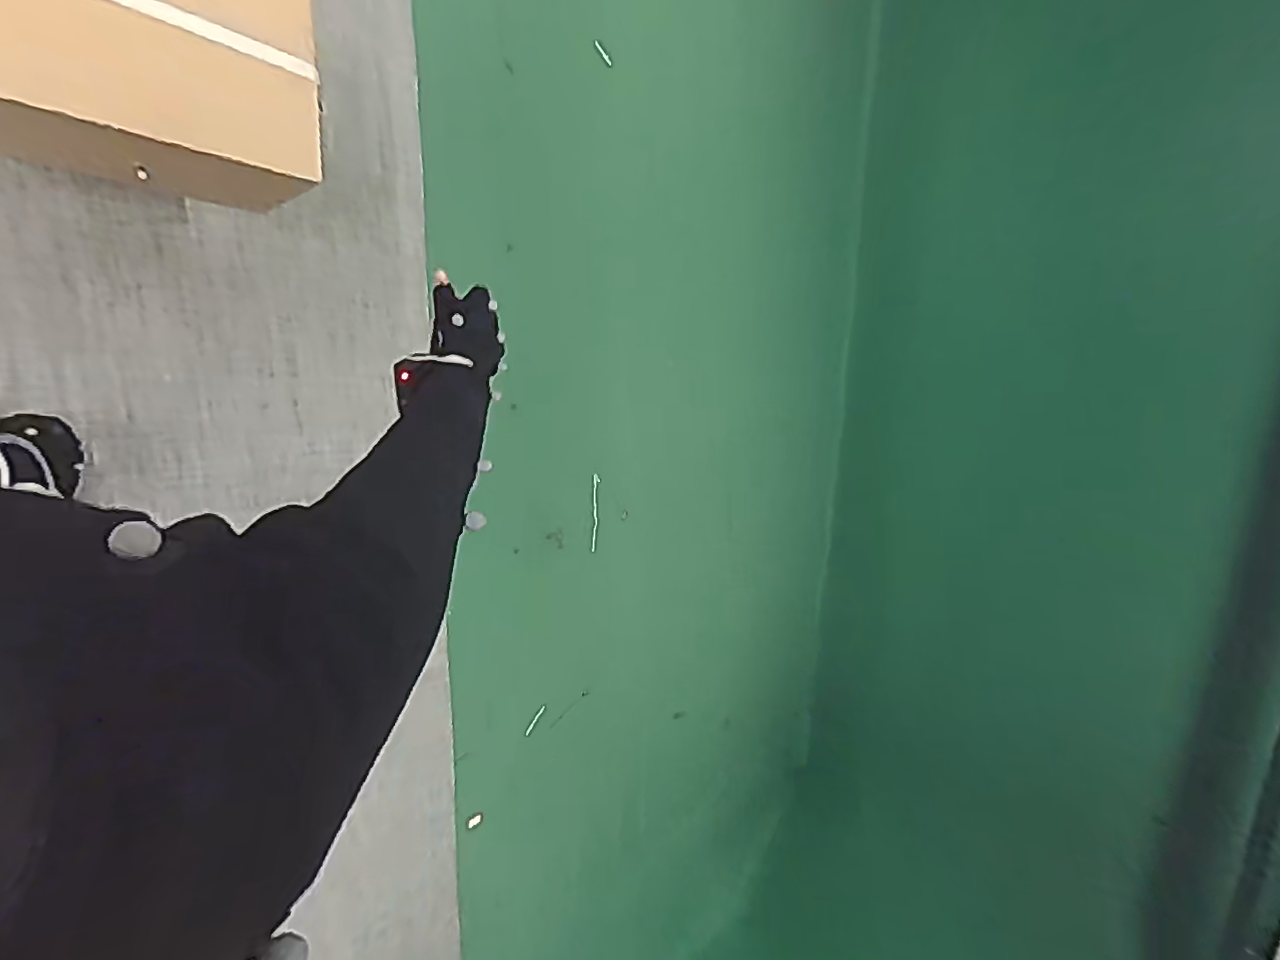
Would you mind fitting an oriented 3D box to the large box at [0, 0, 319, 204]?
[{"bbox_3d":[-0.760,-0.643,0.806,0.408,0.320,0.320,-10,106,-48],"label":"large box"}]
